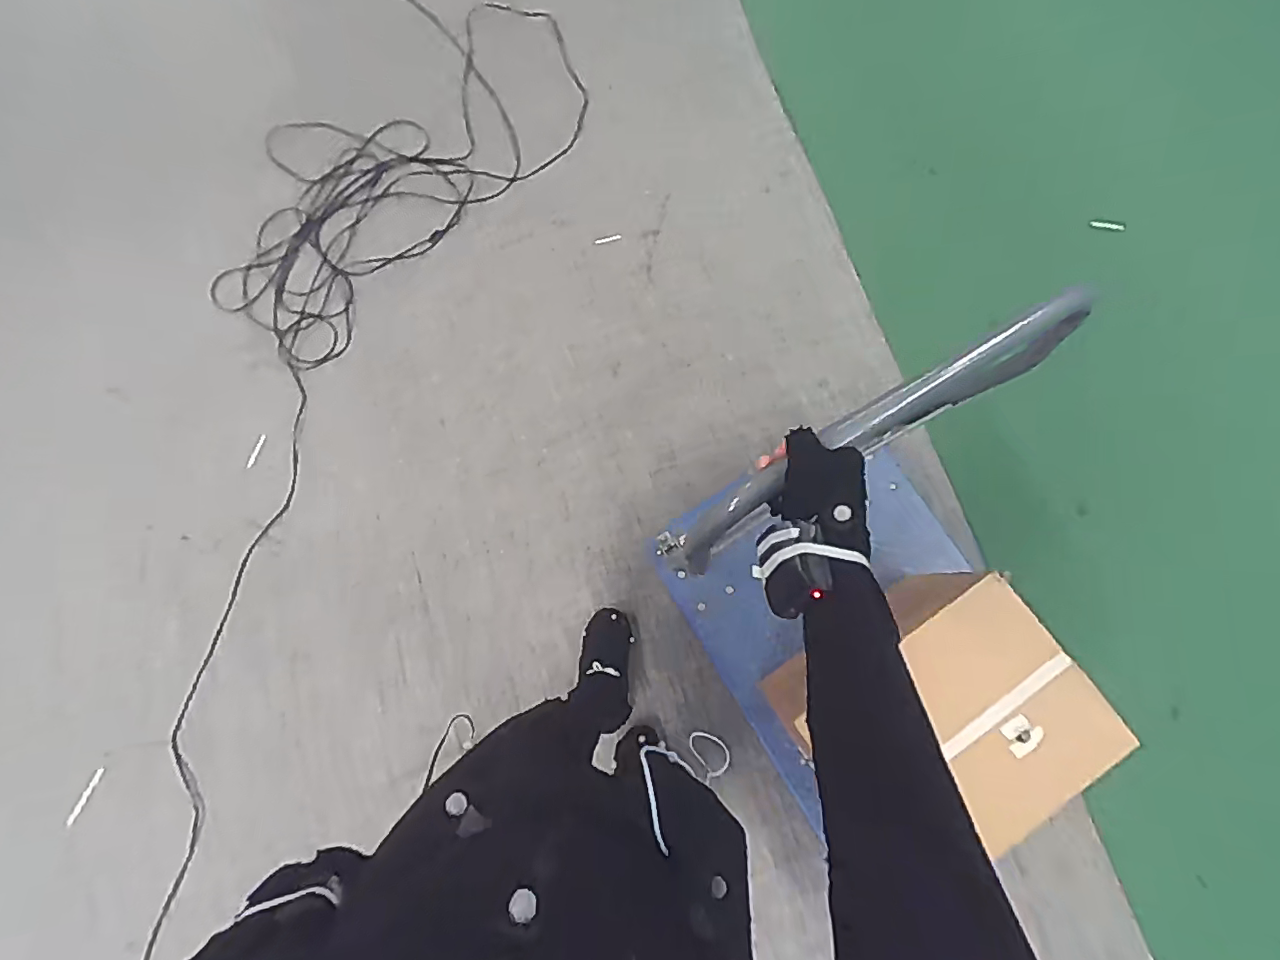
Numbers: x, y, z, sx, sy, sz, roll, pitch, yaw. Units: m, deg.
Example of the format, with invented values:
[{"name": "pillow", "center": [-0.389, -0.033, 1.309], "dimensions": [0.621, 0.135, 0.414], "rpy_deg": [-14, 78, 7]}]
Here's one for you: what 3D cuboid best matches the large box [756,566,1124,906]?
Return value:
[{"name": "large box", "center": [0.475, 0.399, 0.952], "dimensions": [0.408, 0.320, 0.320], "rpy_deg": [-35, 81, -6]}]
